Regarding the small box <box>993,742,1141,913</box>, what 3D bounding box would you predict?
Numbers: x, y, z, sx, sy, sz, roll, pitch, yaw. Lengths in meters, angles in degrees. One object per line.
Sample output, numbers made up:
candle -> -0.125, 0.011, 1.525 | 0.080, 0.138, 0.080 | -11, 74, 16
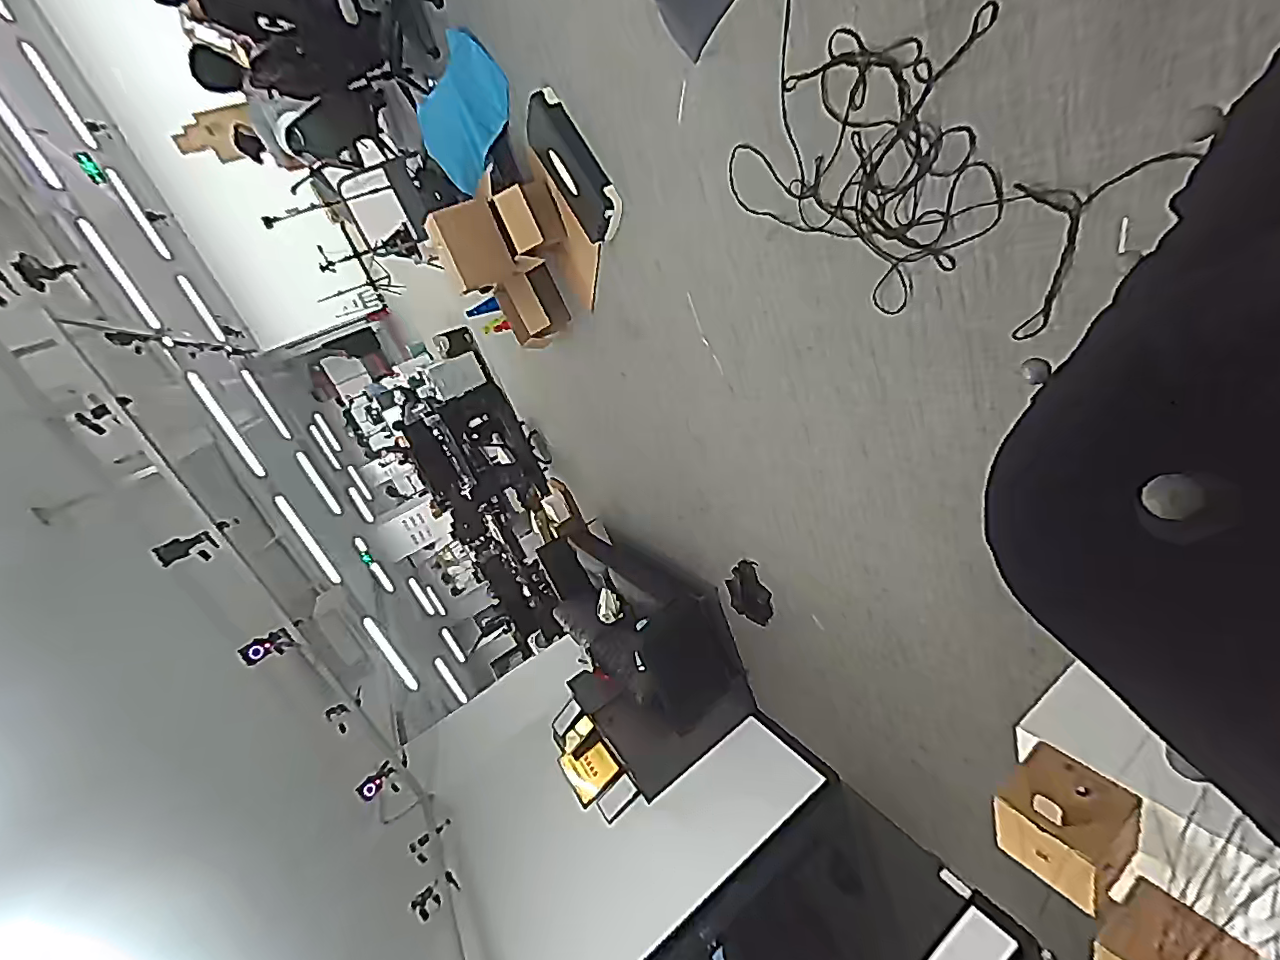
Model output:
small box -> 0.809, 0.650, 1.027 | 0.168, 0.176, 0.179 | 25, 141, 58
